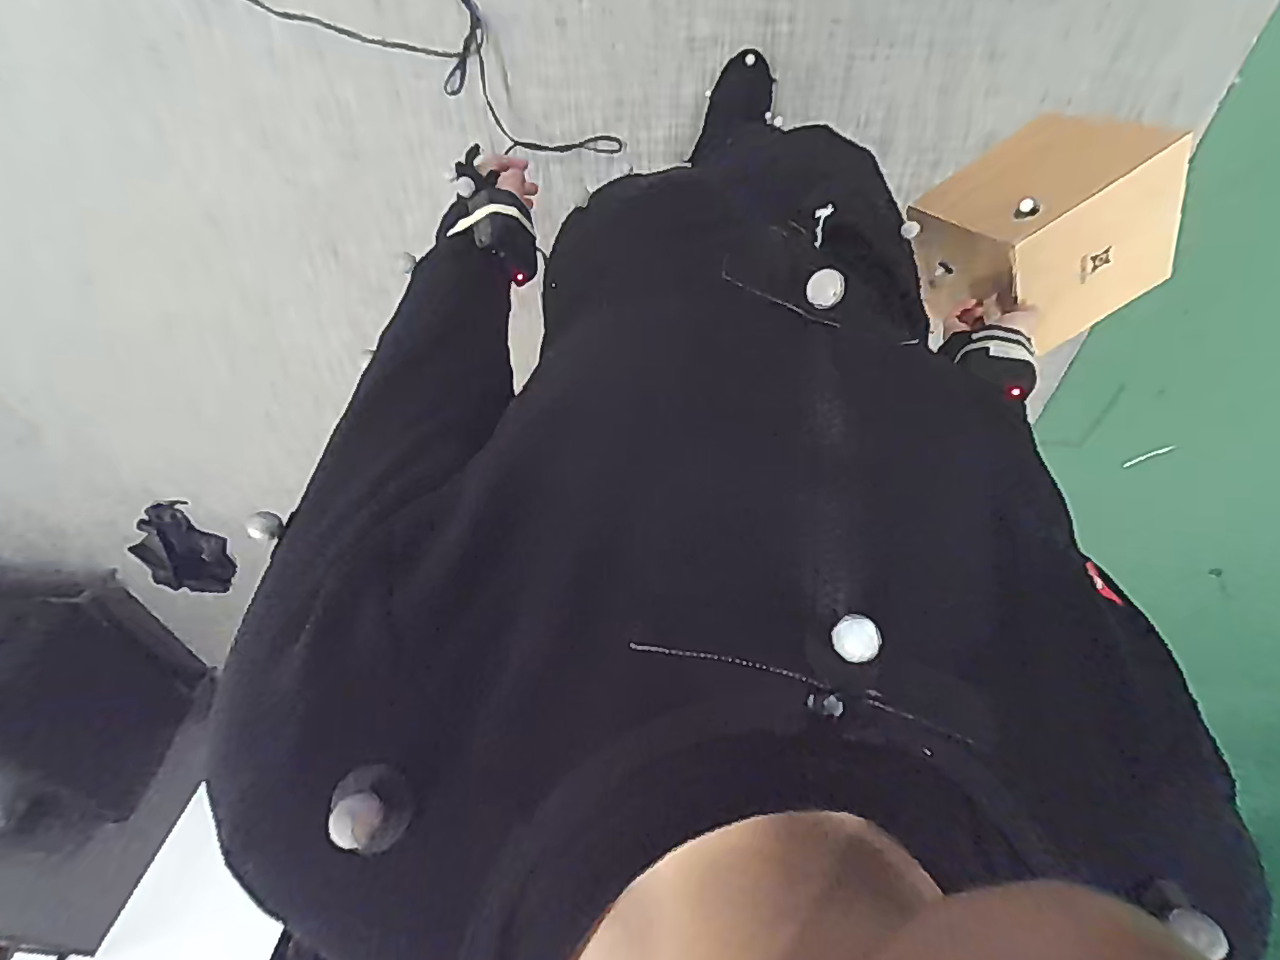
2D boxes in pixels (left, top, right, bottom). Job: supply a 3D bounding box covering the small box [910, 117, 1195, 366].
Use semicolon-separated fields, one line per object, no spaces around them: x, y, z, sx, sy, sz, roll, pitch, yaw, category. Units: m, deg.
0.444;-0.271;0.608;0.179;0.176;0.168;-34;131;10;small box
